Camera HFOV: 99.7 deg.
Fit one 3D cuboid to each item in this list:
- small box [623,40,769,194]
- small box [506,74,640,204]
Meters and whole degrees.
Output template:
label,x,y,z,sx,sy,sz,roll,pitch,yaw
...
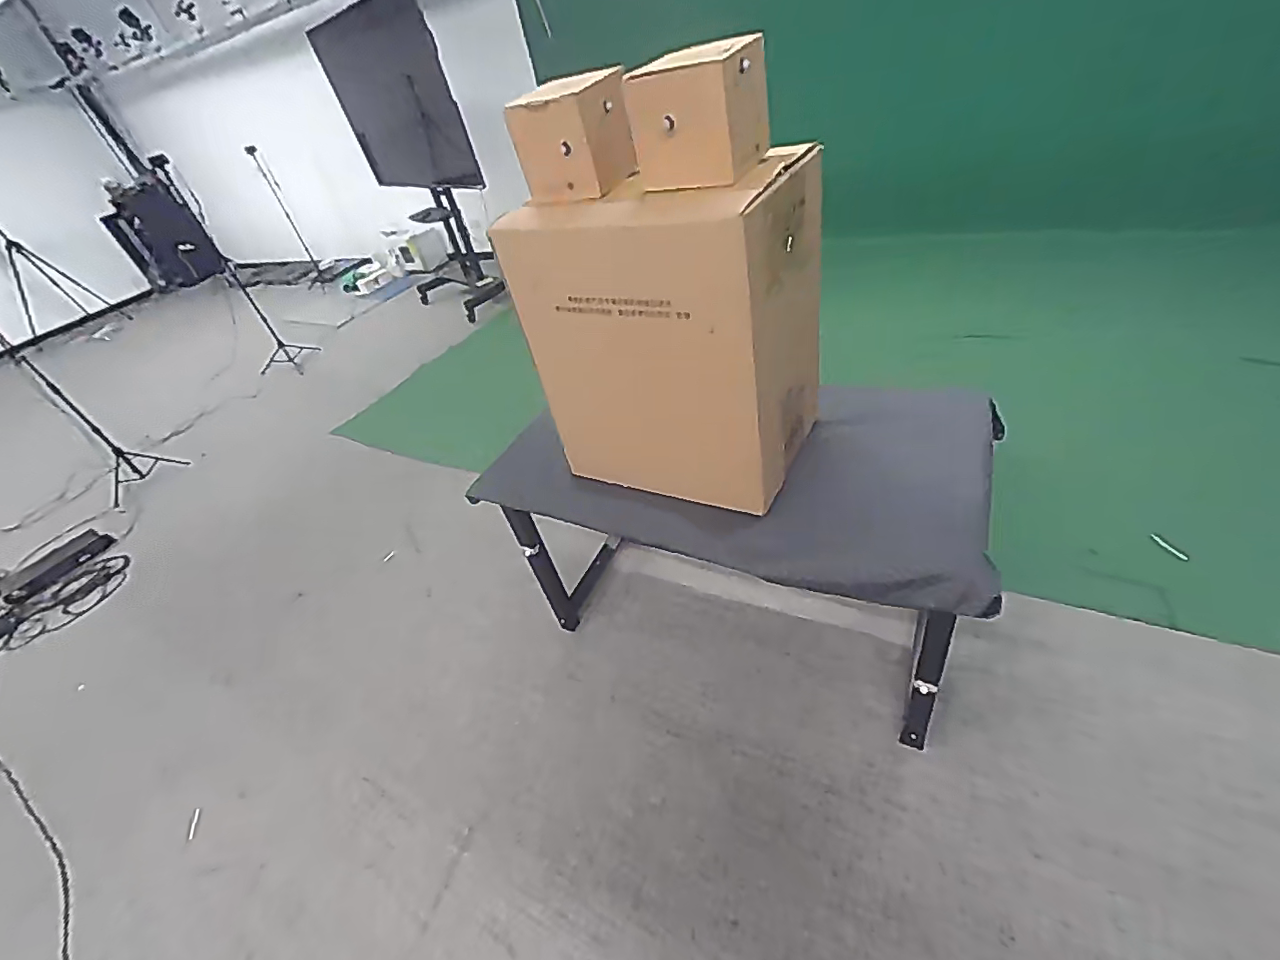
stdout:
label,x,y,z,sx,sy,sz,roll,pitch,yaw
small box,0.102,-0.596,0.904,0.179,0.176,0.168,12,50,31
small box,-0.117,-0.641,1.031,0.168,0.176,0.179,13,49,28
